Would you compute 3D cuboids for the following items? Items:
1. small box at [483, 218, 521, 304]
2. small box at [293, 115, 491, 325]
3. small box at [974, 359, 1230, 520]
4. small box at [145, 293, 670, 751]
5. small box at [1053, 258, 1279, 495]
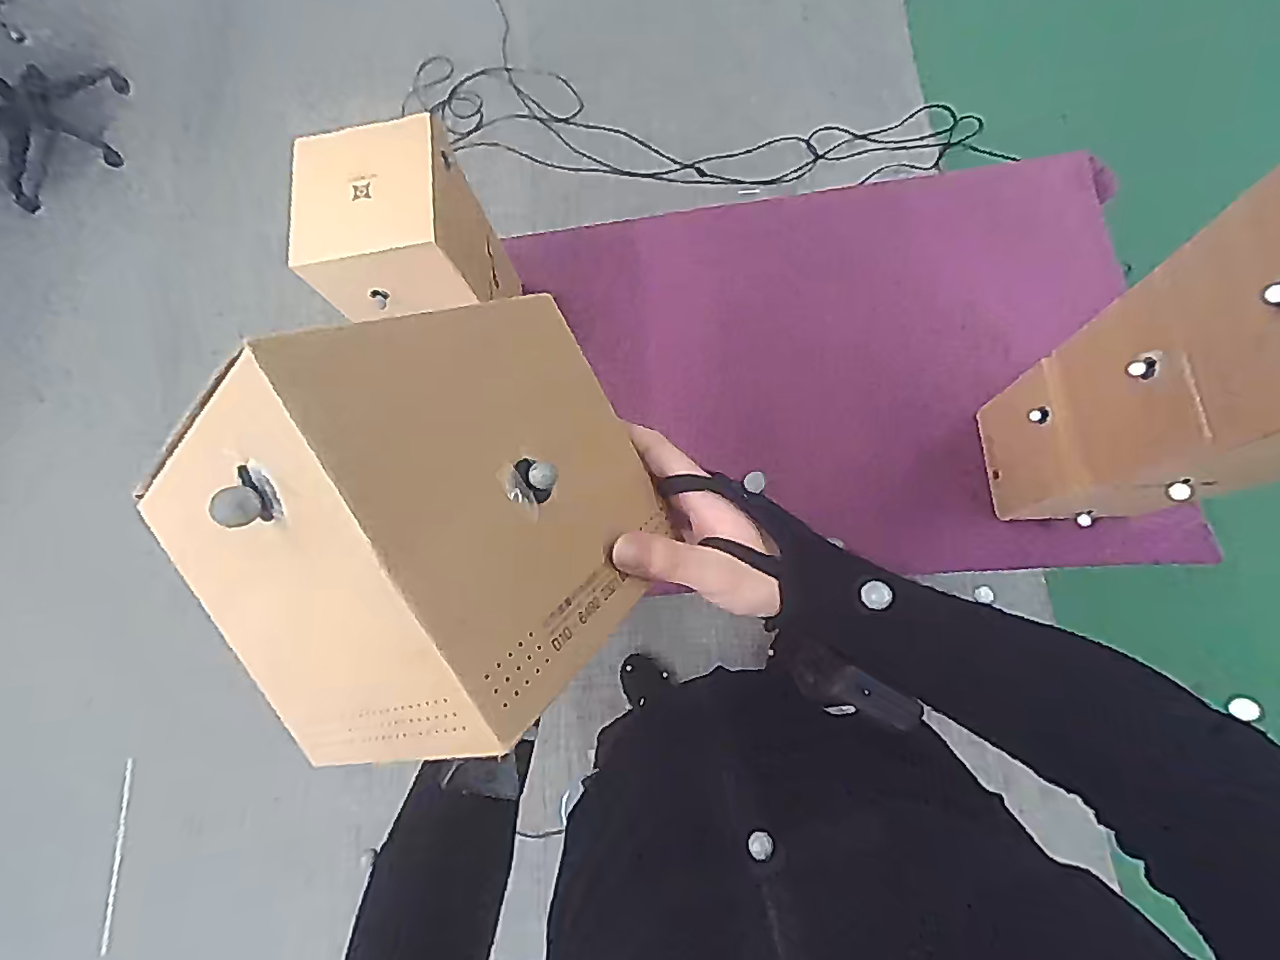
[{"bbox_3d":[-0.284,-0.266,0.833,0.179,0.176,0.168,-9,75,4],"label":"small box"},{"bbox_3d":[-0.295,-0.300,0.675,0.168,0.176,0.179,-9,75,4],"label":"small box"},{"bbox_3d":[0.566,-0.045,0.687,0.179,0.176,0.168,-2,74,6],"label":"small box"},{"bbox_3d":[-0.112,0.023,0.299,0.179,0.168,0.176,-24,98,36],"label":"small box"},{"bbox_3d":[0.550,-0.090,0.531,0.168,0.176,0.179,-2,75,7],"label":"small box"}]
